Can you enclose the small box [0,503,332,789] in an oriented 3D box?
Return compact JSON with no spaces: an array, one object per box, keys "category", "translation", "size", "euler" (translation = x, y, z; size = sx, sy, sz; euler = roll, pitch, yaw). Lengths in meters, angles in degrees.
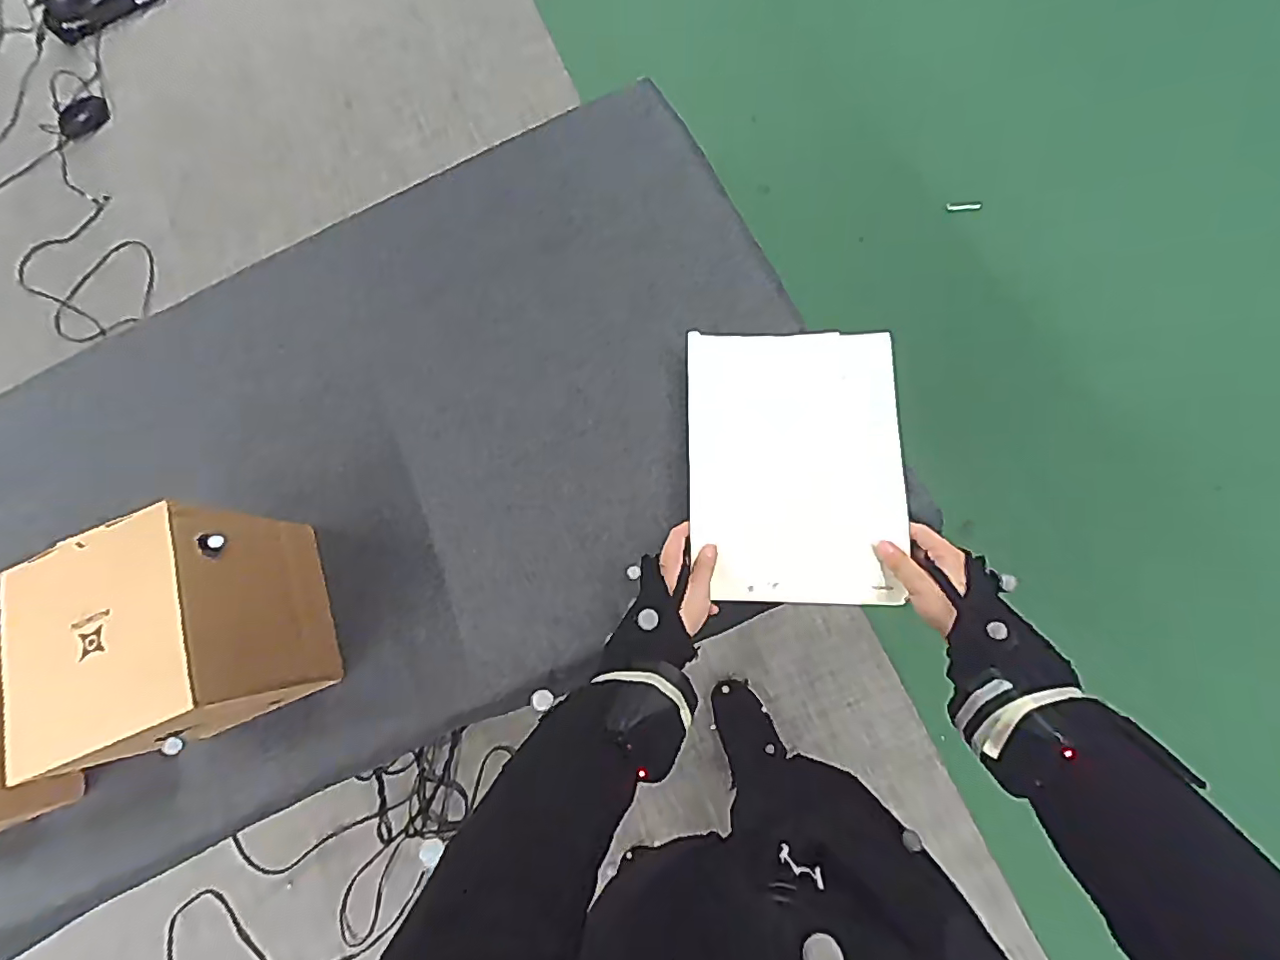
[{"category":"small box","translation":[-0.420,0.142,0.497],"size":[0.168,0.176,0.179],"euler":[-23,73,4]}]
